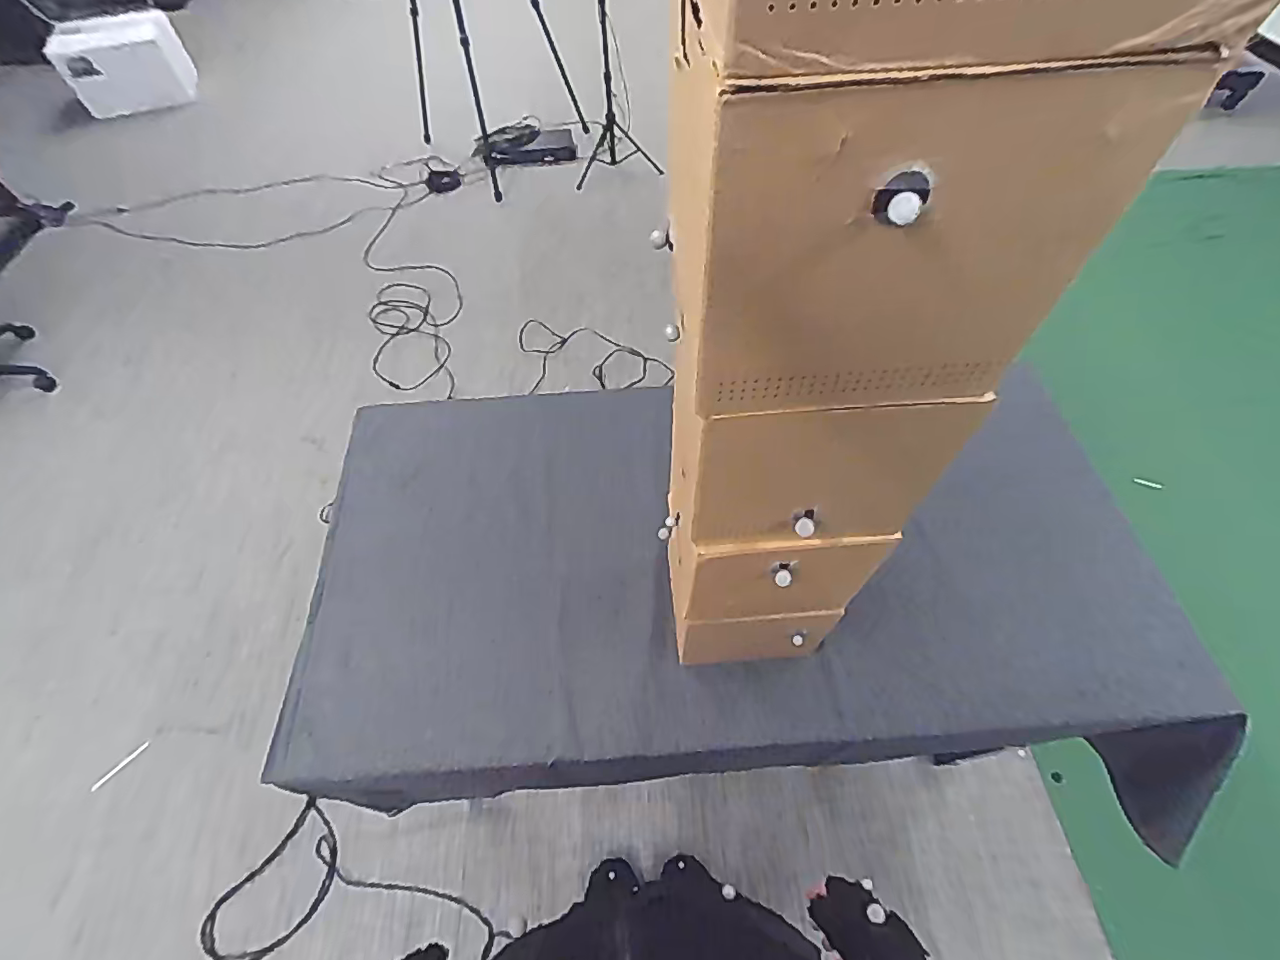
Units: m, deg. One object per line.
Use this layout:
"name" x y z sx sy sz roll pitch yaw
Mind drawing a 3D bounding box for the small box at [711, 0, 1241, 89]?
"small box" 0.108 -0.243 0.162 0.179 0.176 0.168 -2 57 1

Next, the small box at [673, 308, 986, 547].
"small box" 0.121 -0.057 0.432 0.179 0.176 0.168 -3 55 0

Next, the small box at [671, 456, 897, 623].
"small box" 0.129 0.039 0.564 0.179 0.176 0.168 -5 56 -1

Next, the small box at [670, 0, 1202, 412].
"small box" 0.110 -0.152 0.298 0.179 0.176 0.168 -4 56 -1
